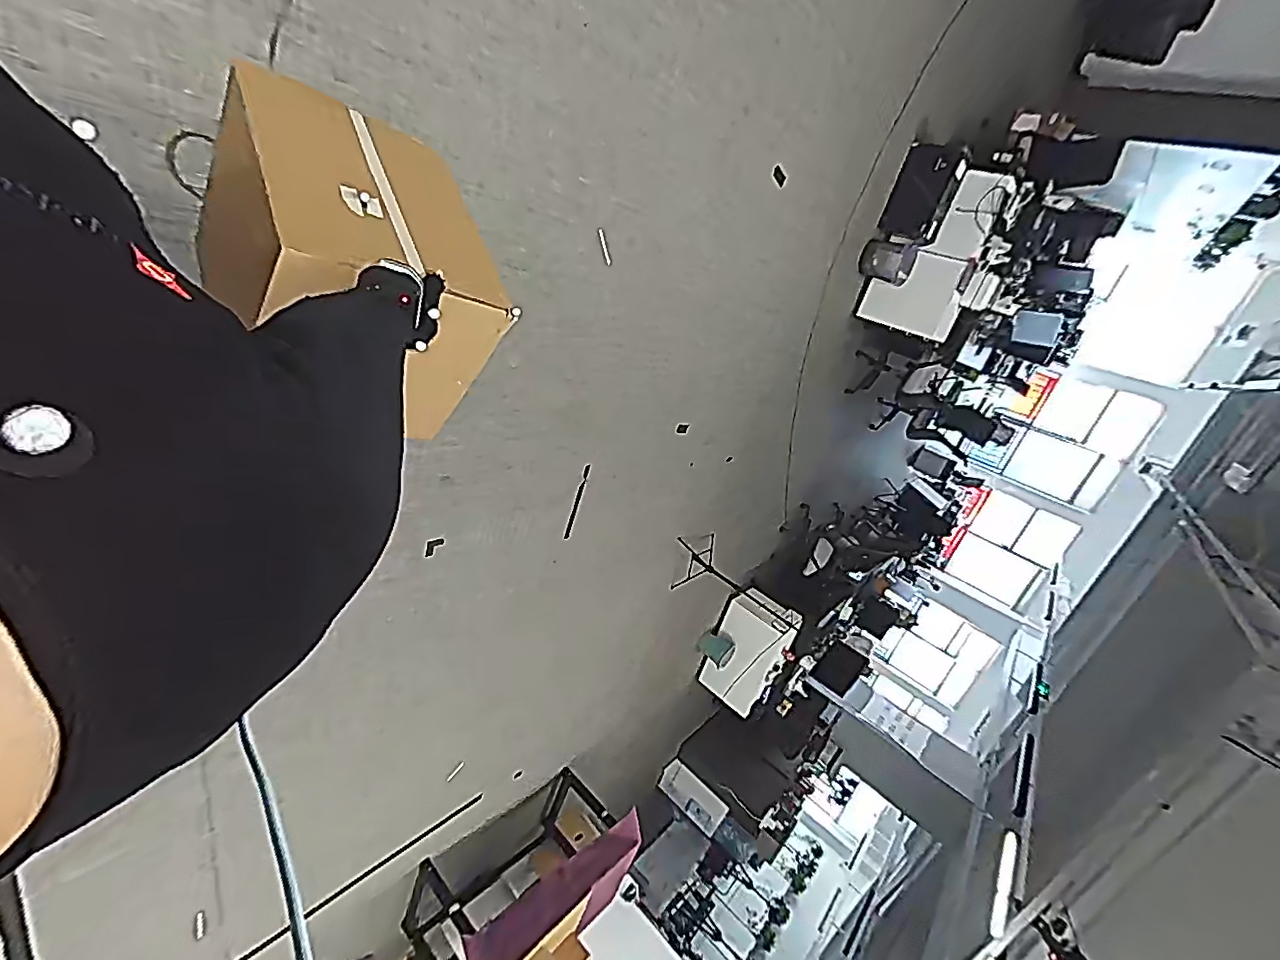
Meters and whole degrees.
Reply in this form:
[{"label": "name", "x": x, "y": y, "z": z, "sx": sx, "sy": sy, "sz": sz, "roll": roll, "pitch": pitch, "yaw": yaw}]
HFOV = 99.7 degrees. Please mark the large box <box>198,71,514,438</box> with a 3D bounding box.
[{"label": "large box", "x": -0.472, "y": -0.325, "z": 0.878, "sx": 0.320, "sy": 0.408, "sz": 0.320, "roll": 1, "pitch": 146, "yaw": -49}]
